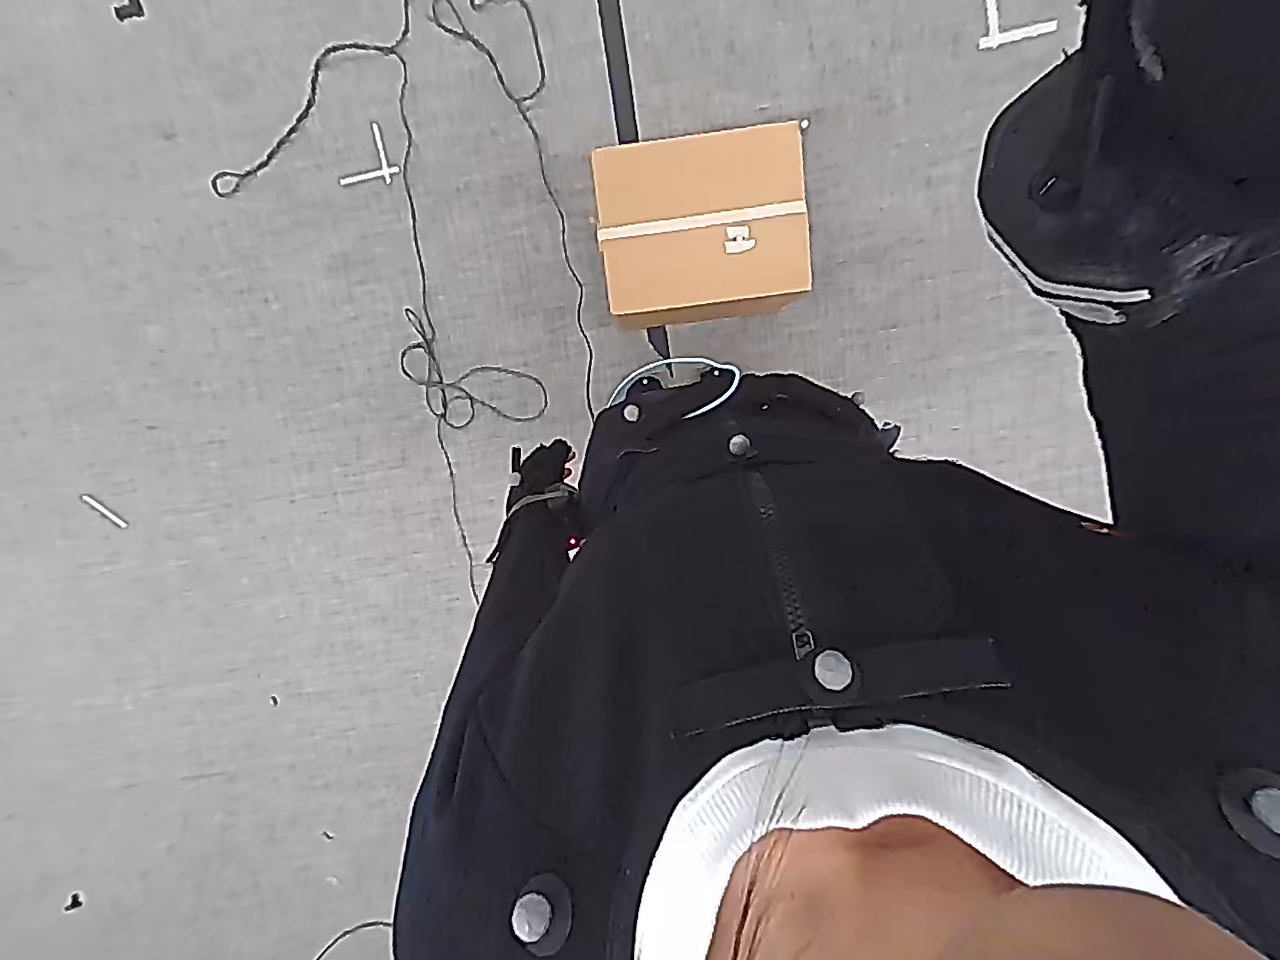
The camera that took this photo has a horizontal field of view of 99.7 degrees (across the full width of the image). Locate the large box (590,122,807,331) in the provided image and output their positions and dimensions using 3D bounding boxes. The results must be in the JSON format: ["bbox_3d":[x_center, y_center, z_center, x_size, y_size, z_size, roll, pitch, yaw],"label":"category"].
[{"bbox_3d":[0.119,-0.532,1.210,0.408,0.320,0.320,-7,100,2],"label":"large box"}]
